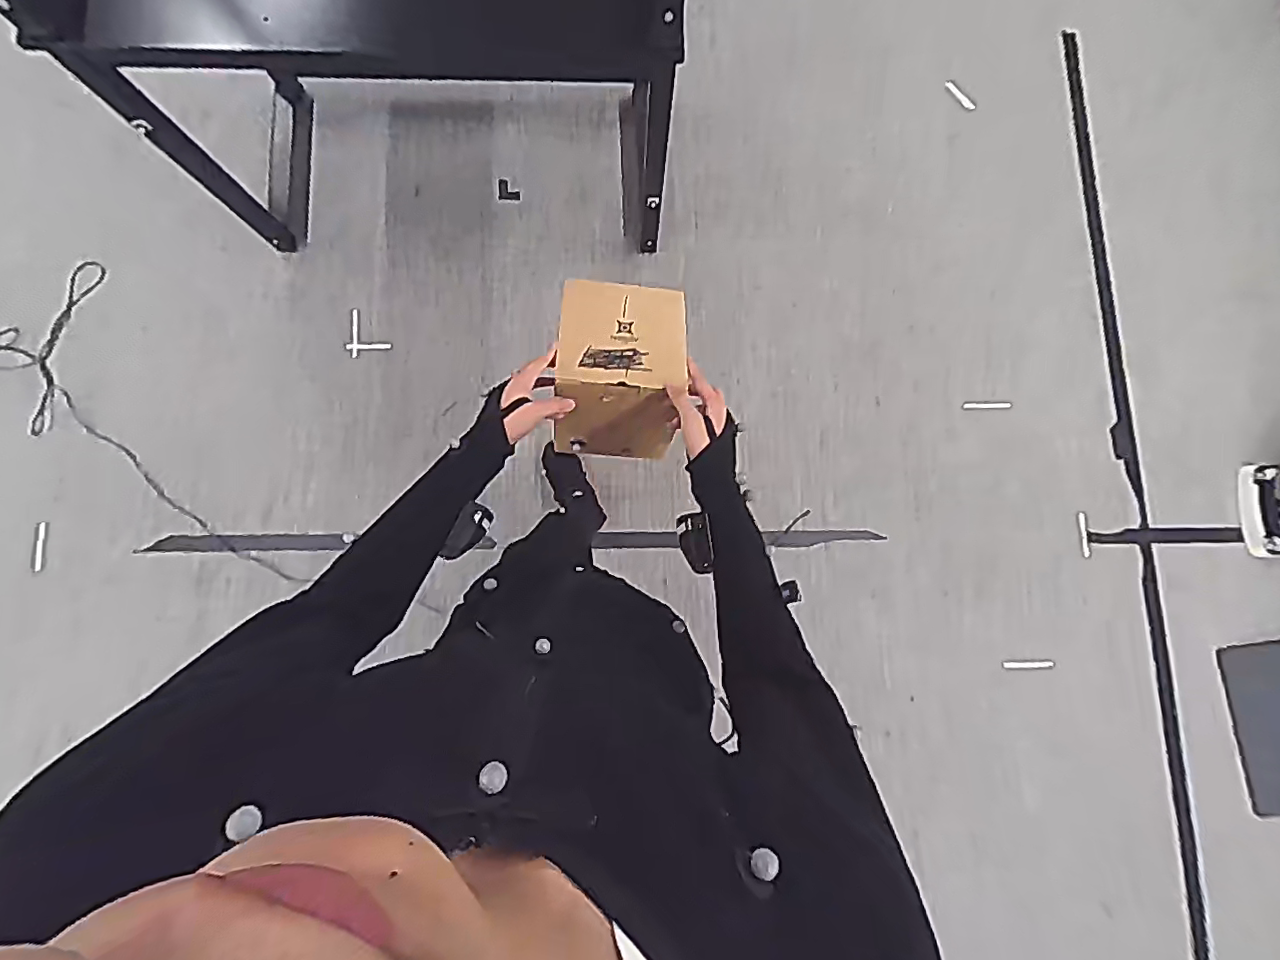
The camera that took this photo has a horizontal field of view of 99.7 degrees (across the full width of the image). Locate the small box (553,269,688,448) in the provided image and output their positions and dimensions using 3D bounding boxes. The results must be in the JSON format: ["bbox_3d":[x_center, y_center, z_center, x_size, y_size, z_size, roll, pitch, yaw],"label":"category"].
[{"bbox_3d":[-0.030,-0.161,0.756,0.168,0.176,0.179,4,61,-7],"label":"small box"}]
